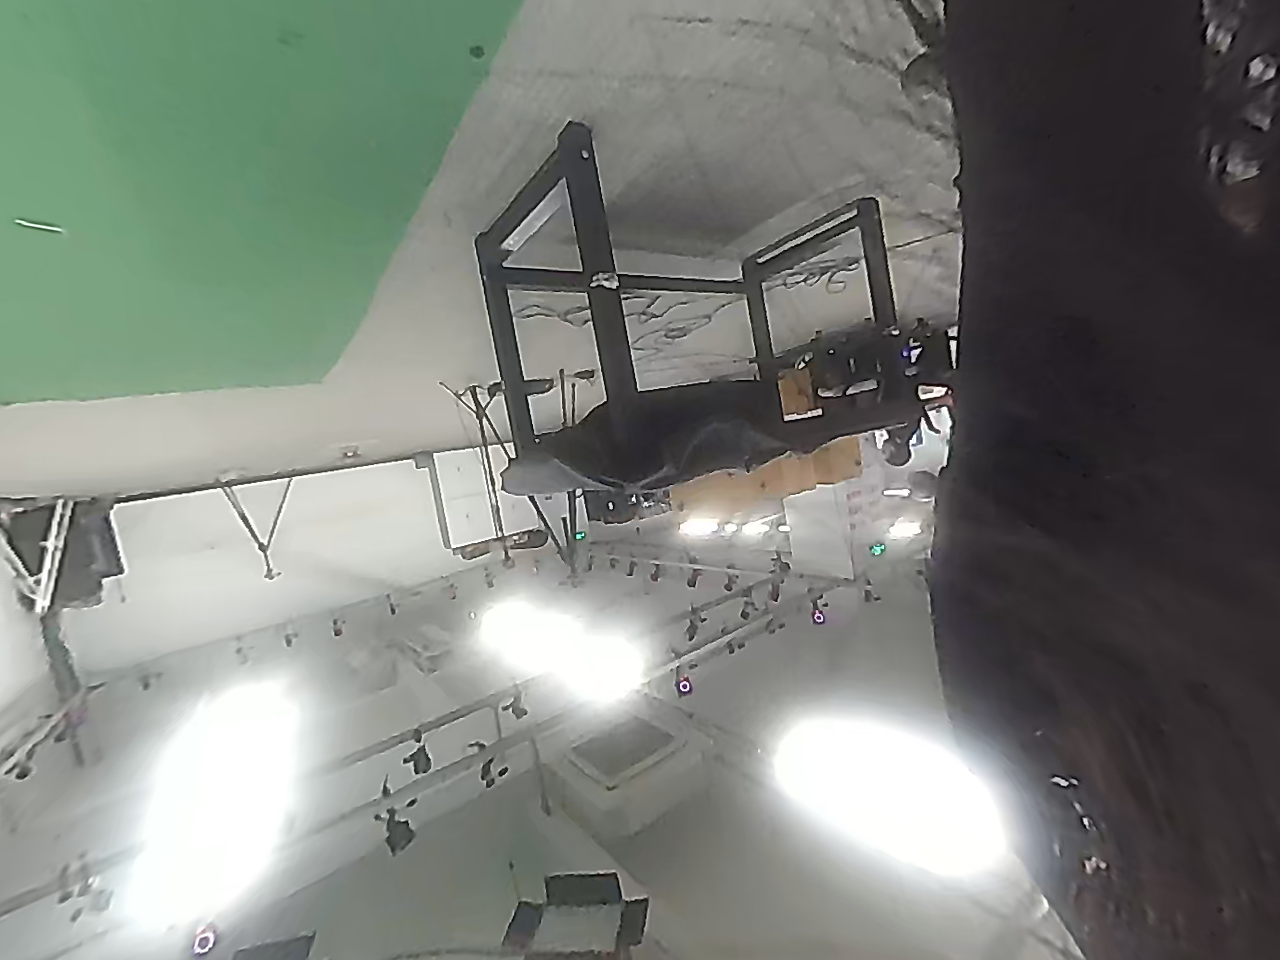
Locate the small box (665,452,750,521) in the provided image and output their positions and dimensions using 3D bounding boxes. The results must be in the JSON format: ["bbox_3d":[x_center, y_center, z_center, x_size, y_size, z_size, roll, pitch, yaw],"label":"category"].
[{"bbox_3d":[0.188,0.017,1.554,0.168,0.176,0.179,-14,-175,-38],"label":"small box"}]

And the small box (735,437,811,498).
[{"bbox_3d":[0.419,-0.040,1.733,0.168,0.176,0.179,-13,-176,-38],"label":"small box"}]
